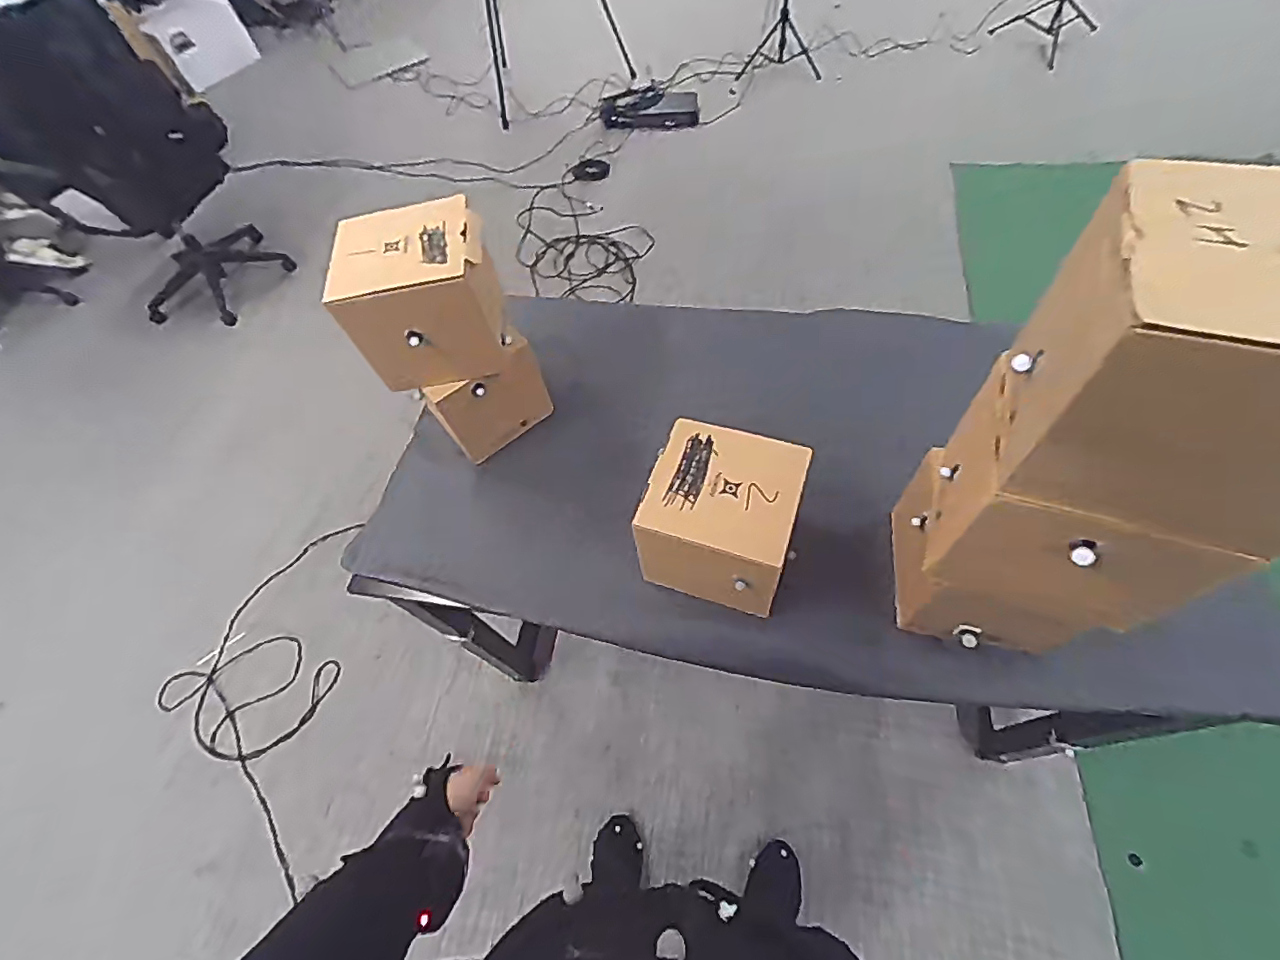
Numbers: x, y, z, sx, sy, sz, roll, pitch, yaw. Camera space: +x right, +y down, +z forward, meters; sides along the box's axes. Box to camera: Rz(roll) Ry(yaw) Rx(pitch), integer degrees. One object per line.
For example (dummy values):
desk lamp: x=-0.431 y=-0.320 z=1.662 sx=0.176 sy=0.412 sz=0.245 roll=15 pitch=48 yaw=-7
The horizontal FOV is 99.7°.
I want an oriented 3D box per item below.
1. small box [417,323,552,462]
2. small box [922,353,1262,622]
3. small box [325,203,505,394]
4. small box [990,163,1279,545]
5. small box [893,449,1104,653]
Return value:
small box: x=-0.272 y=-0.162 z=0.890 sx=0.168 sy=0.176 sz=0.179 roll=-38 pitch=62 yaw=-15
small box: x=0.388 y=0.013 z=0.499 sx=0.179 sy=0.176 sz=0.168 roll=15 pitch=61 yaw=18
small box: x=-0.292 y=-0.243 z=0.748 sx=0.179 sy=0.176 sz=0.168 roll=-11 pitch=59 yaw=2
small box: x=0.371 y=-0.076 z=0.361 sx=0.179 sy=0.176 sz=0.168 roll=16 pitch=61 yaw=19
small box: x=0.410 y=0.087 z=0.642 sx=0.168 sy=0.176 sz=0.179 roll=6 pitch=59 yaw=12
